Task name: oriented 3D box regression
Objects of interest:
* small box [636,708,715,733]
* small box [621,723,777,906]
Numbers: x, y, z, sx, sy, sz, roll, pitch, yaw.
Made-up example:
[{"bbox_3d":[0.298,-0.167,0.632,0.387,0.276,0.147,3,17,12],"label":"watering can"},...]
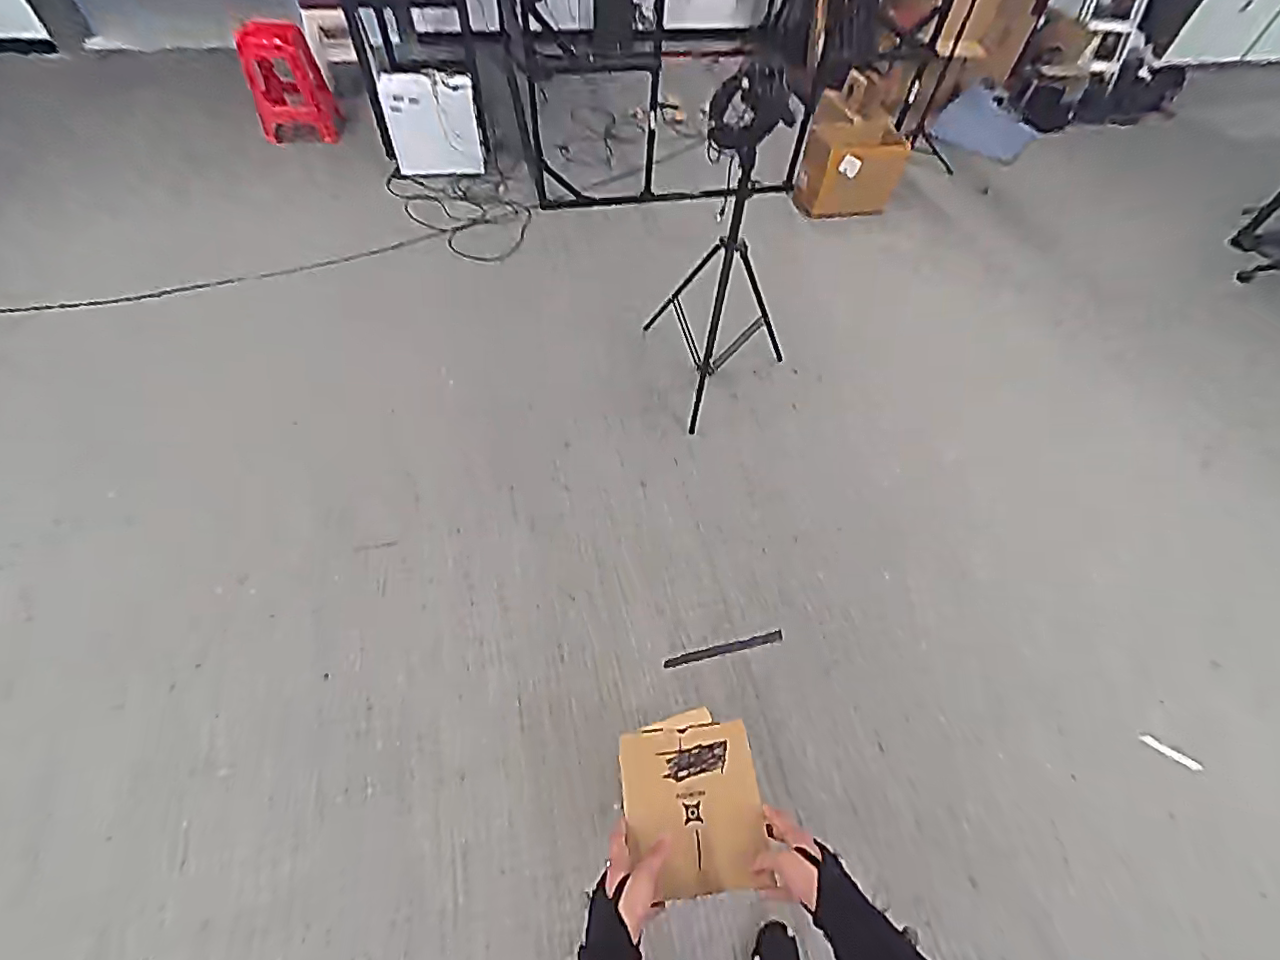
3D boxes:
[{"bbox_3d":[0.093,0.630,1.192,0.179,0.176,0.168,-14,57,-12],"label":"small box"},{"bbox_3d":[0.062,0.435,0.704,0.168,0.176,0.179,-5,54,-4],"label":"small box"}]
